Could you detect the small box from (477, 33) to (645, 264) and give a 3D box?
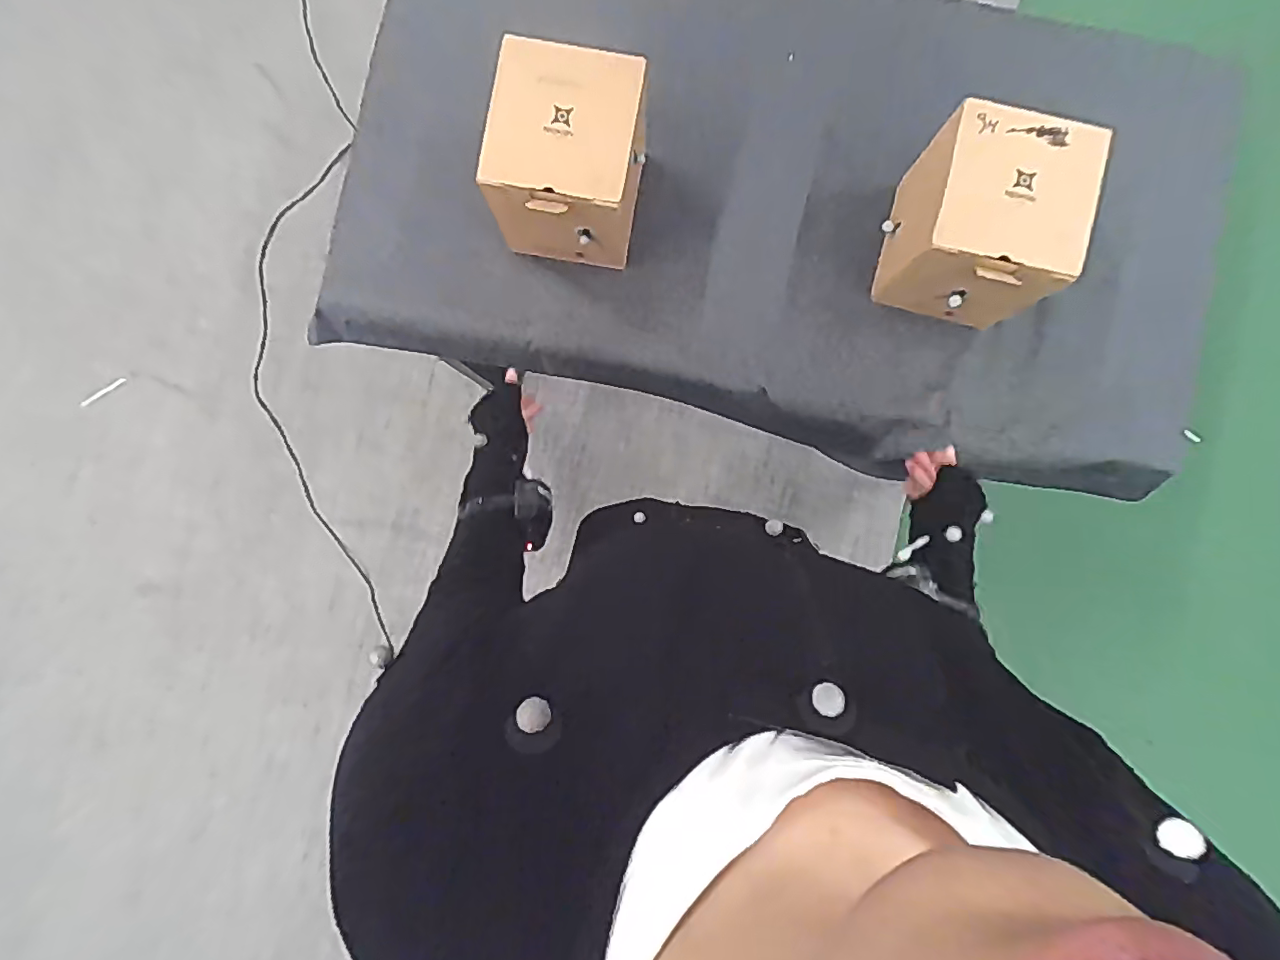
[{"bbox_3d":[-0.089,-0.399,0.681,0.168,0.176,0.179,9,86,-1],"label":"small box"}]

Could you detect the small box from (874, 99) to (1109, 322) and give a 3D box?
[{"bbox_3d":[0.417,-0.317,0.674,0.168,0.176,0.179,15,89,1],"label":"small box"}]
